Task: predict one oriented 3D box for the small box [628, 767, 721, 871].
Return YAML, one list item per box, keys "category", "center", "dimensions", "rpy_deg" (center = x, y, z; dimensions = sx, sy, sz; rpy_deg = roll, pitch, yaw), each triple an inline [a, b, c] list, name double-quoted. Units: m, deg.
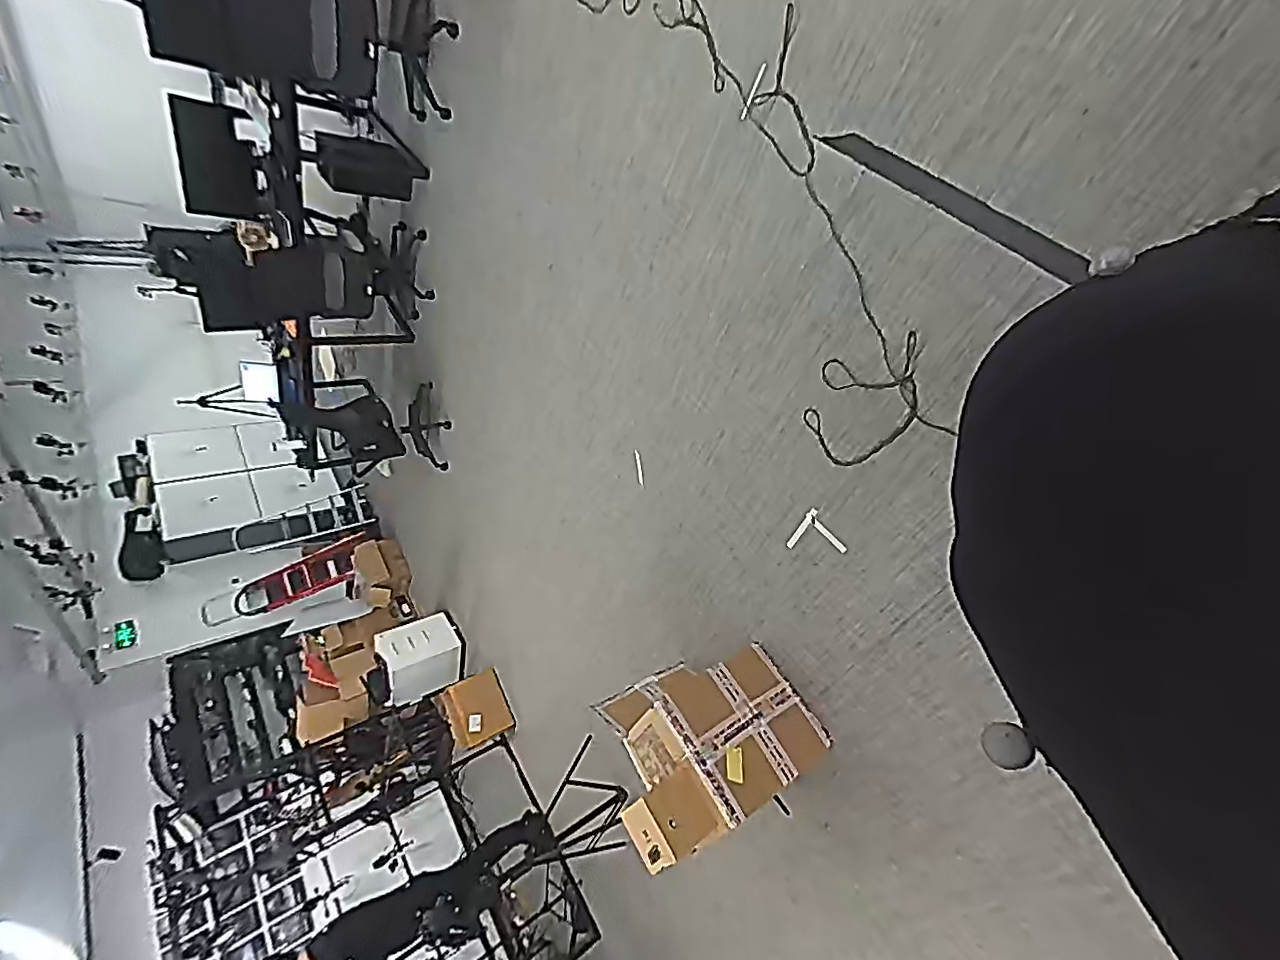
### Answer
- category: "small box"
  center: [0.100, 0.964, 1.547]
  dimensions: [0.179, 0.176, 0.168]
  rpy_deg: [54, 134, 27]
